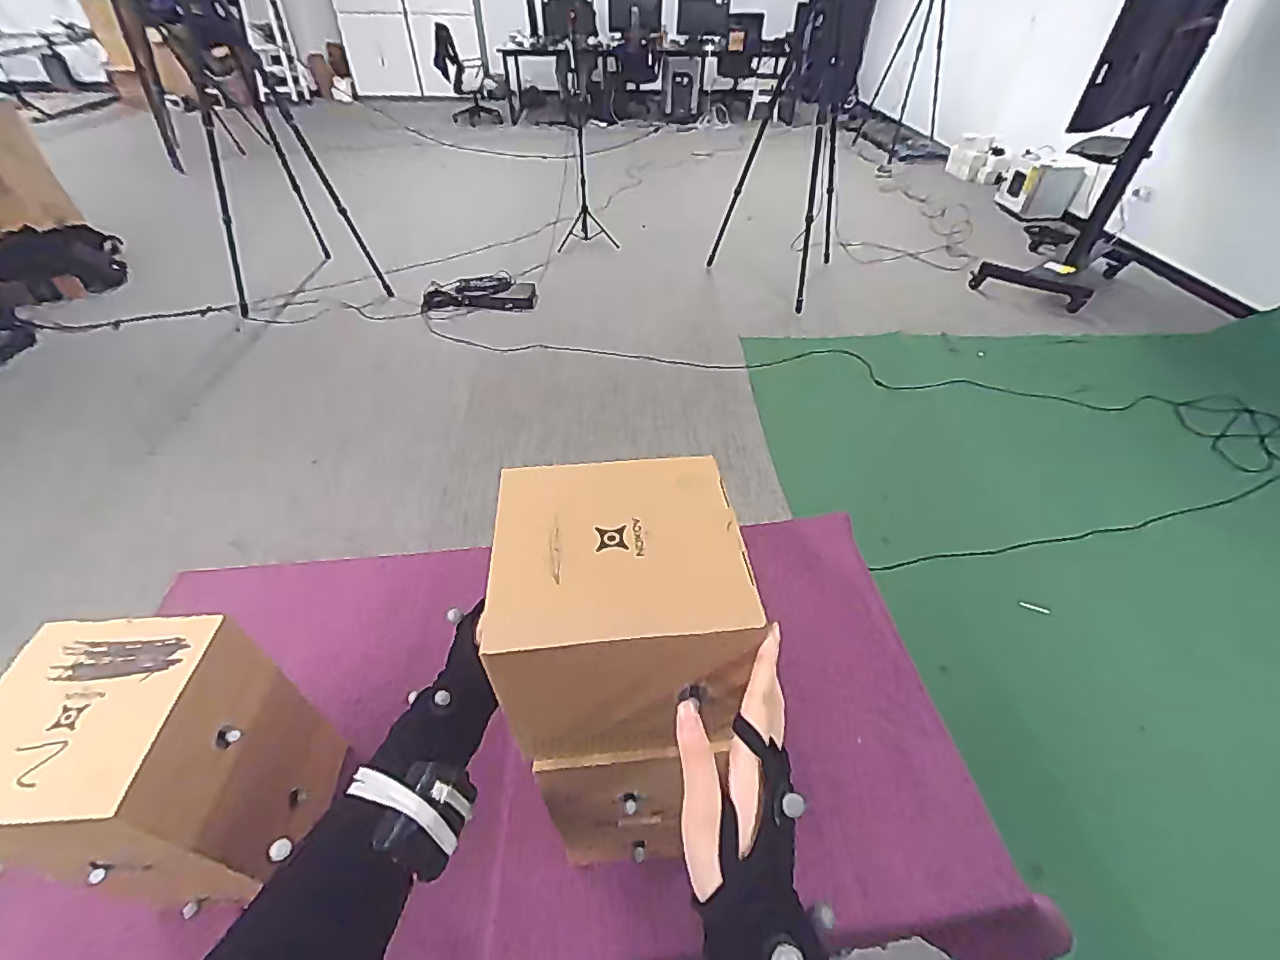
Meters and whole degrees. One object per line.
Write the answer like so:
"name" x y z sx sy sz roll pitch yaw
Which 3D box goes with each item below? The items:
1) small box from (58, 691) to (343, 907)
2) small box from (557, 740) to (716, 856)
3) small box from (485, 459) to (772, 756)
"small box" -0.473 0.367 0.626 0.168 0.176 0.179 -2 45 -3
"small box" -0.009 0.341 0.662 0.168 0.176 0.179 -3 45 -4
"small box" -0.012 0.102 0.435 0.179 0.176 0.168 -4 43 -4
